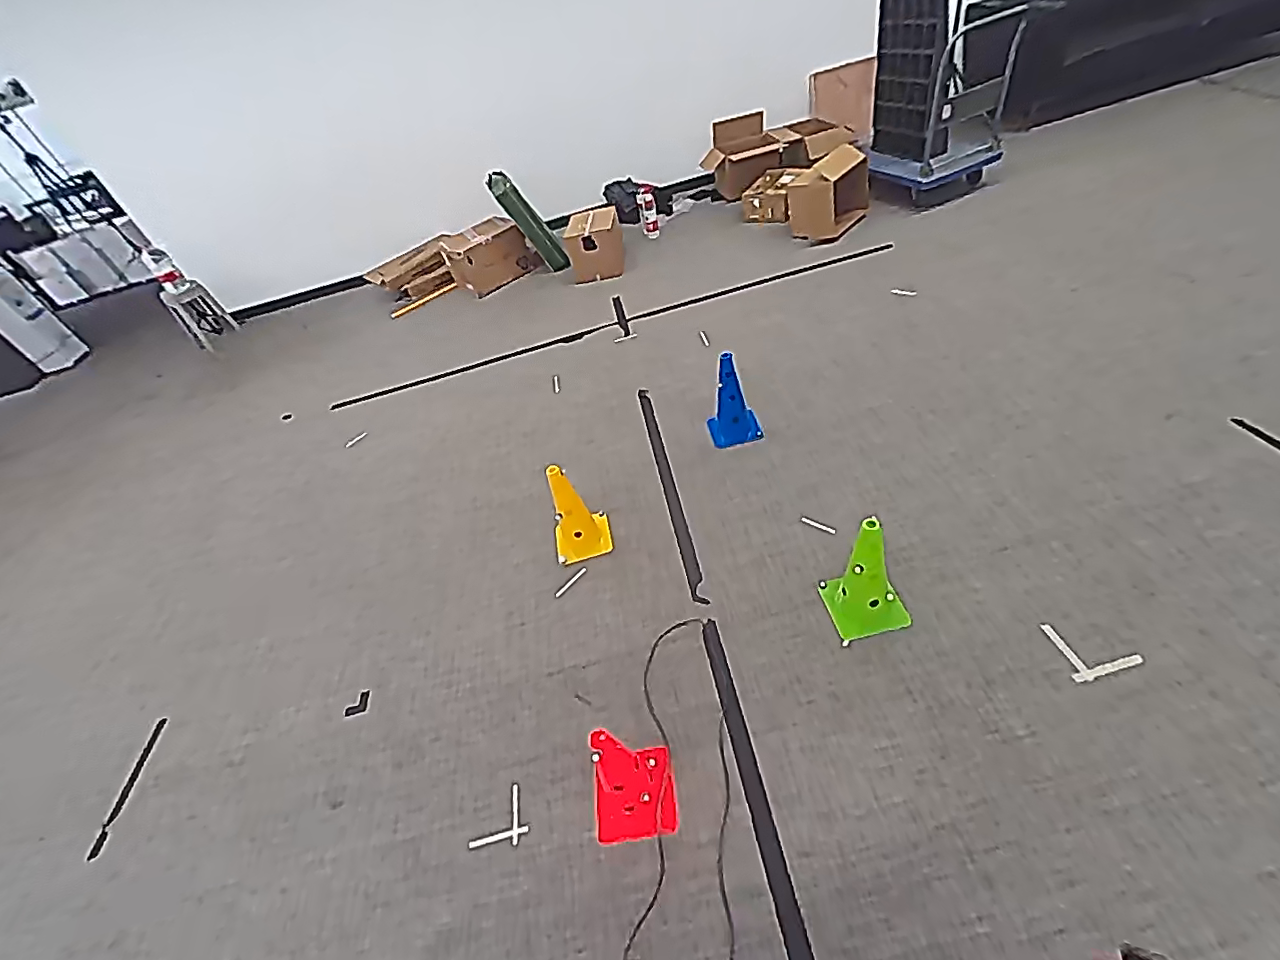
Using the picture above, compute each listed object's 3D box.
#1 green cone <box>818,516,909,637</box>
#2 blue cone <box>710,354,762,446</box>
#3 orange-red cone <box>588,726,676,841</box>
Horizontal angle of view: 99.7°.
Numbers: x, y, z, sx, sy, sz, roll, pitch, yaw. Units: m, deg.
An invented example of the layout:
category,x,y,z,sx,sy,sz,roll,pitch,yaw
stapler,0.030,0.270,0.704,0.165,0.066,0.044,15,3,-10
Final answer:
category,x,y,z,sx,sy,sz,roll,pitch,yaw
green cone,0.609,0.233,1.451,0.202,0.368,0.200,-14,43,1
blue cone,0.363,-0.328,2.136,0.192,0.380,0.193,-12,43,4
orange-red cone,-0.053,0.652,1.228,0.199,0.360,0.198,-13,41,6
